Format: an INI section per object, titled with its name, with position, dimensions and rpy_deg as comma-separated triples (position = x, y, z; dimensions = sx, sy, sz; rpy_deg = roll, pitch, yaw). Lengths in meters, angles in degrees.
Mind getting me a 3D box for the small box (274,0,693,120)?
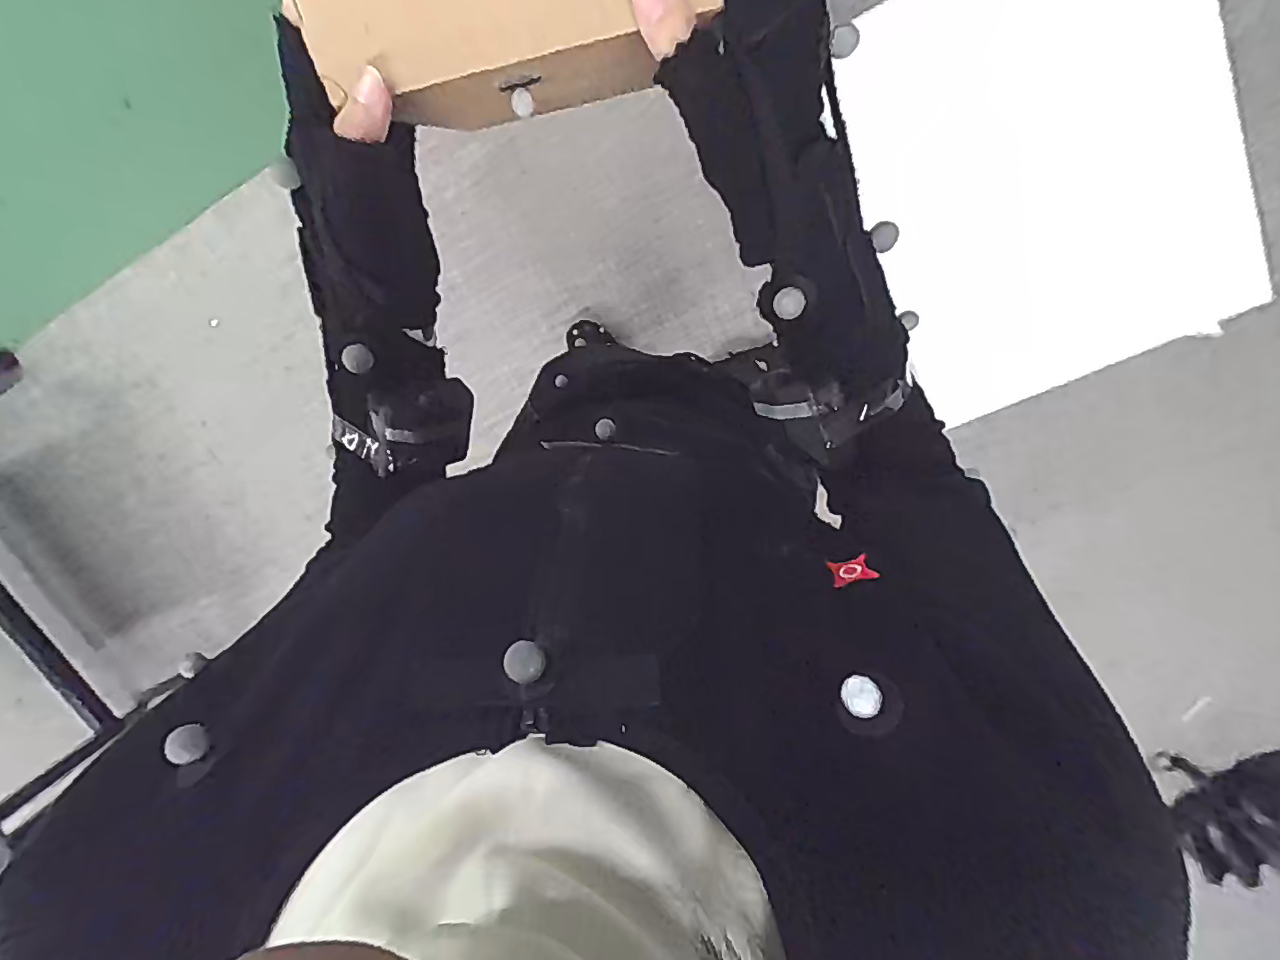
[small box]
position = -0.071, -0.291, 0.260
dimensions = 0.179, 0.176, 0.168
rpy_deg = -7, 119, 9
